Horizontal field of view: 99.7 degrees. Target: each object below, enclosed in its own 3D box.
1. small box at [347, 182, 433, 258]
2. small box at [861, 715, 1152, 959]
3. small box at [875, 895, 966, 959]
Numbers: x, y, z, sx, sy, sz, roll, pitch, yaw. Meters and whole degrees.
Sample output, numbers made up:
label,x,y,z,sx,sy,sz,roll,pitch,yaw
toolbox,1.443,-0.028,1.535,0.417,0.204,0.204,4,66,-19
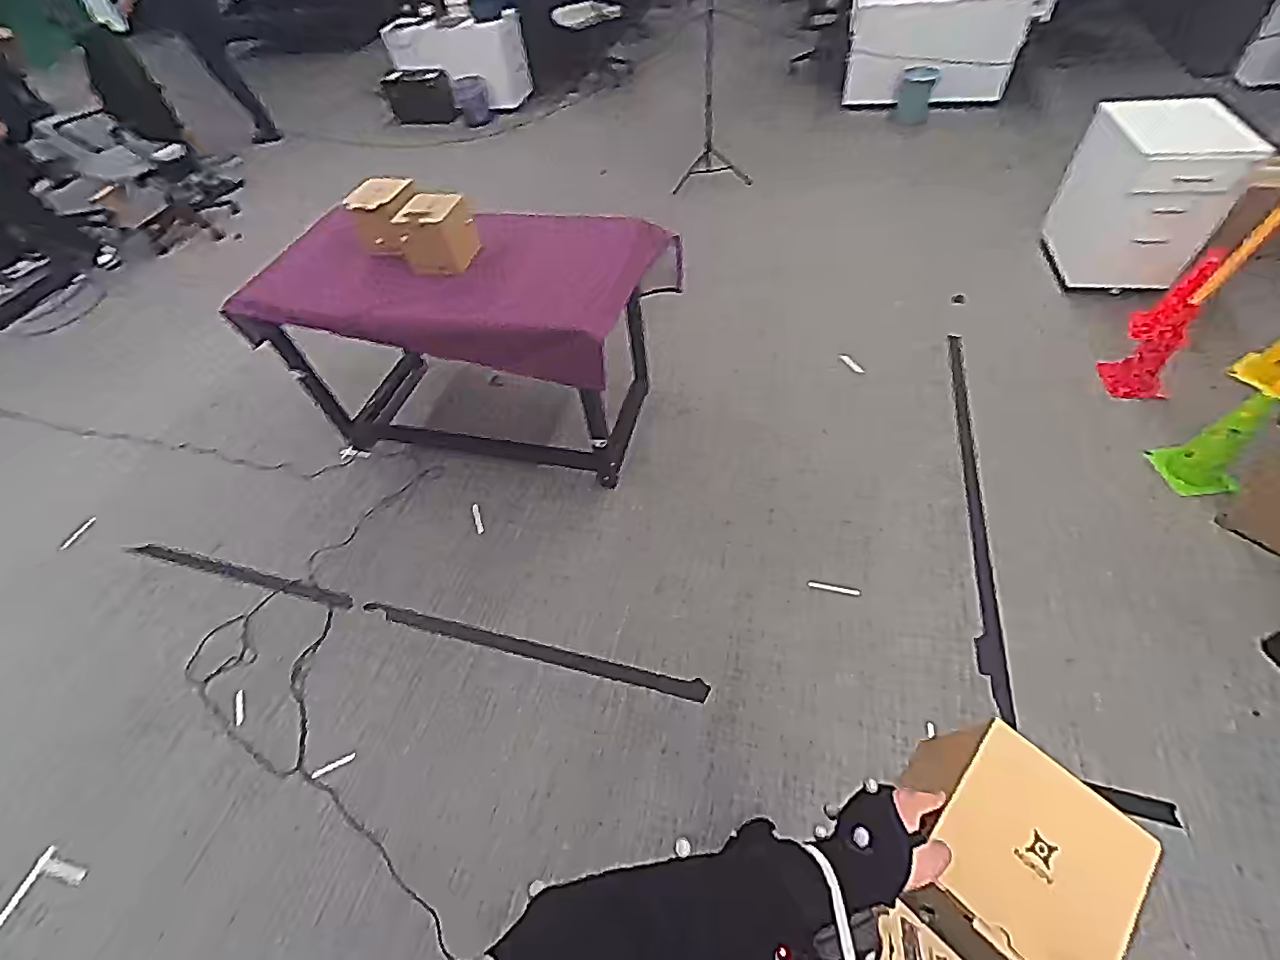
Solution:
label,x,y,z,sx,sy,sz,roll,pitch,yaw
small box,-0.813,-0.858,1.784,0.168,0.176,0.179,7,54,13
small box,0.367,0.385,0.573,0.168,0.176,0.179,38,65,21
small box,0.588,0.977,1.108,0.179,0.176,0.168,7,54,12
